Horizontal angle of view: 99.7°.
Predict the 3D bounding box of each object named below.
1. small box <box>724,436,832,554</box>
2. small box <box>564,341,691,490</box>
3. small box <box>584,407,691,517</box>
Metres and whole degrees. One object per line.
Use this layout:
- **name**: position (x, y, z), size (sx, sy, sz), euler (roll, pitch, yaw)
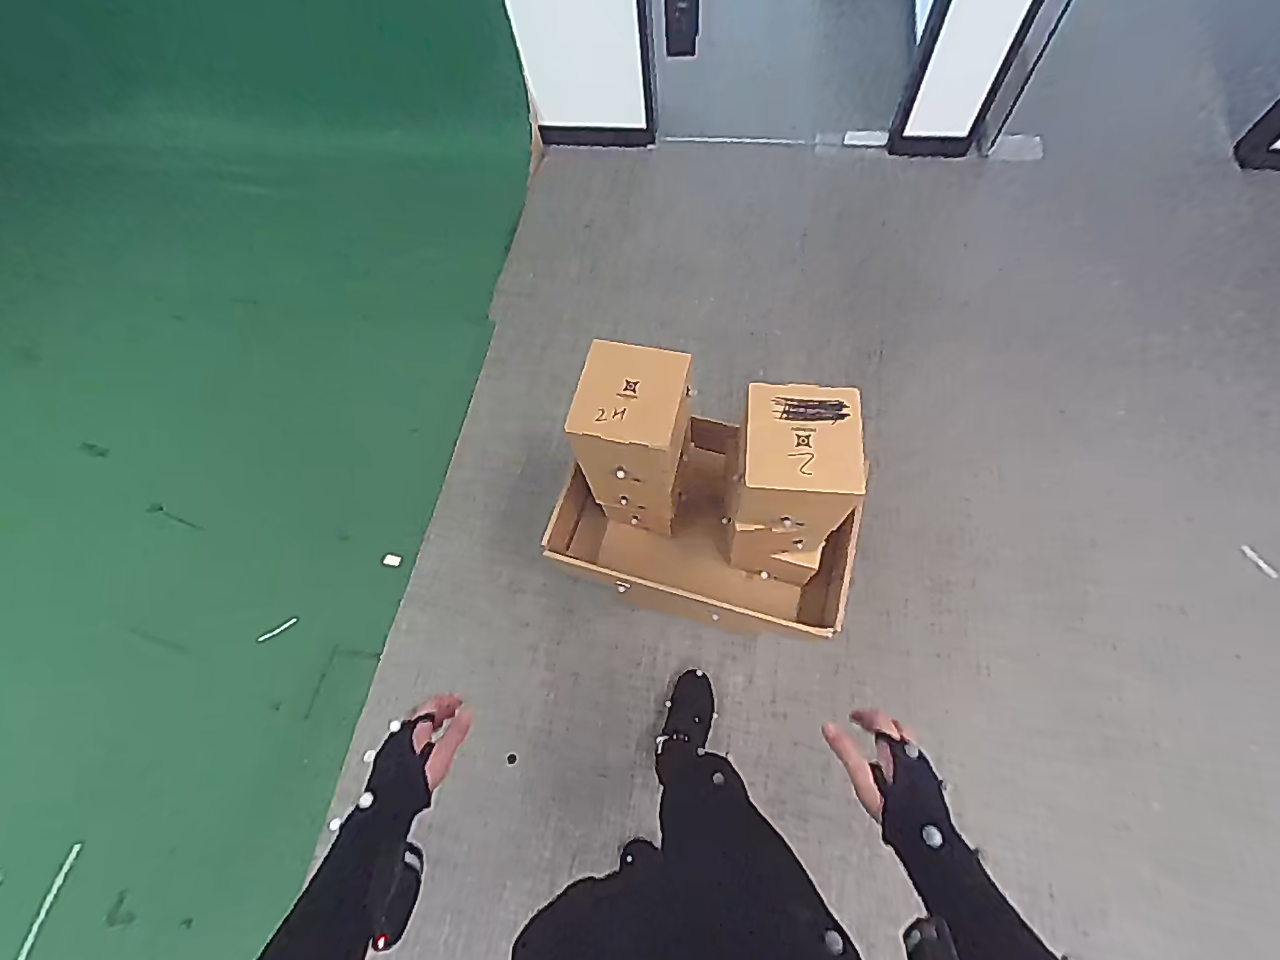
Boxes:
- **small box**: position (0.247, 0.036, 1.008), size (0.168, 0.176, 0.179), euler (-2, 66, 4)
- **small box**: position (-0.012, -0.105, 0.918), size (0.168, 0.176, 0.179), euler (11, 68, 11)
- **small box**: position (0.002, -0.047, 1.071), size (0.168, 0.176, 0.179), euler (11, 69, 11)
